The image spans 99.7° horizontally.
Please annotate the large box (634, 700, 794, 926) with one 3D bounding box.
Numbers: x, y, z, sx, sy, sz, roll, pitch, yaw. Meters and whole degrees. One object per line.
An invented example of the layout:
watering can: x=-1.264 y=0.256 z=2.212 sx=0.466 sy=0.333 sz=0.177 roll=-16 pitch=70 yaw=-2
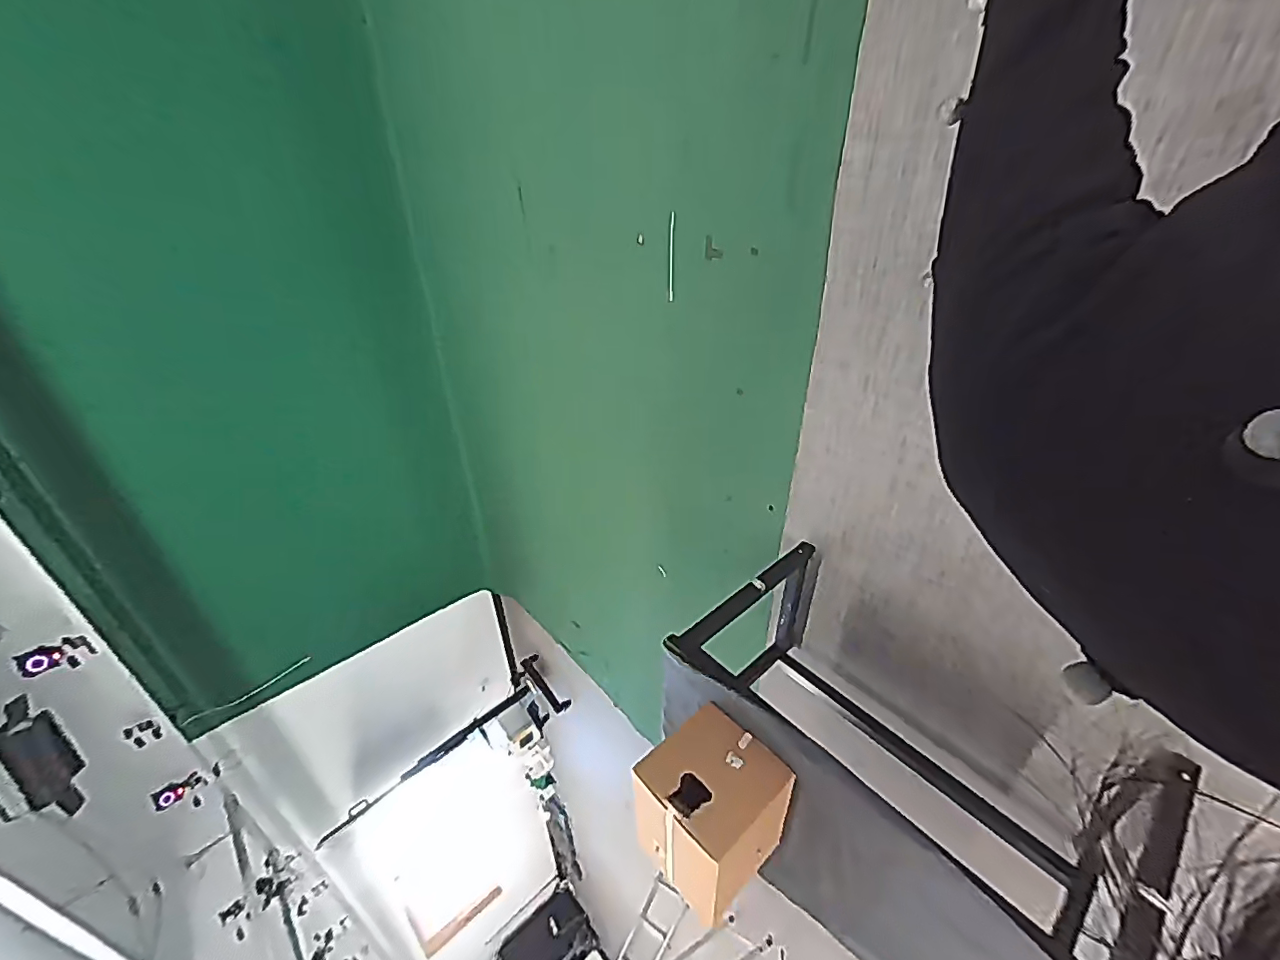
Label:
large box: x=0.206 y=0.920 z=1.524 sx=0.320 sy=0.320 sz=0.408 roll=30 pitch=136 yaw=40
